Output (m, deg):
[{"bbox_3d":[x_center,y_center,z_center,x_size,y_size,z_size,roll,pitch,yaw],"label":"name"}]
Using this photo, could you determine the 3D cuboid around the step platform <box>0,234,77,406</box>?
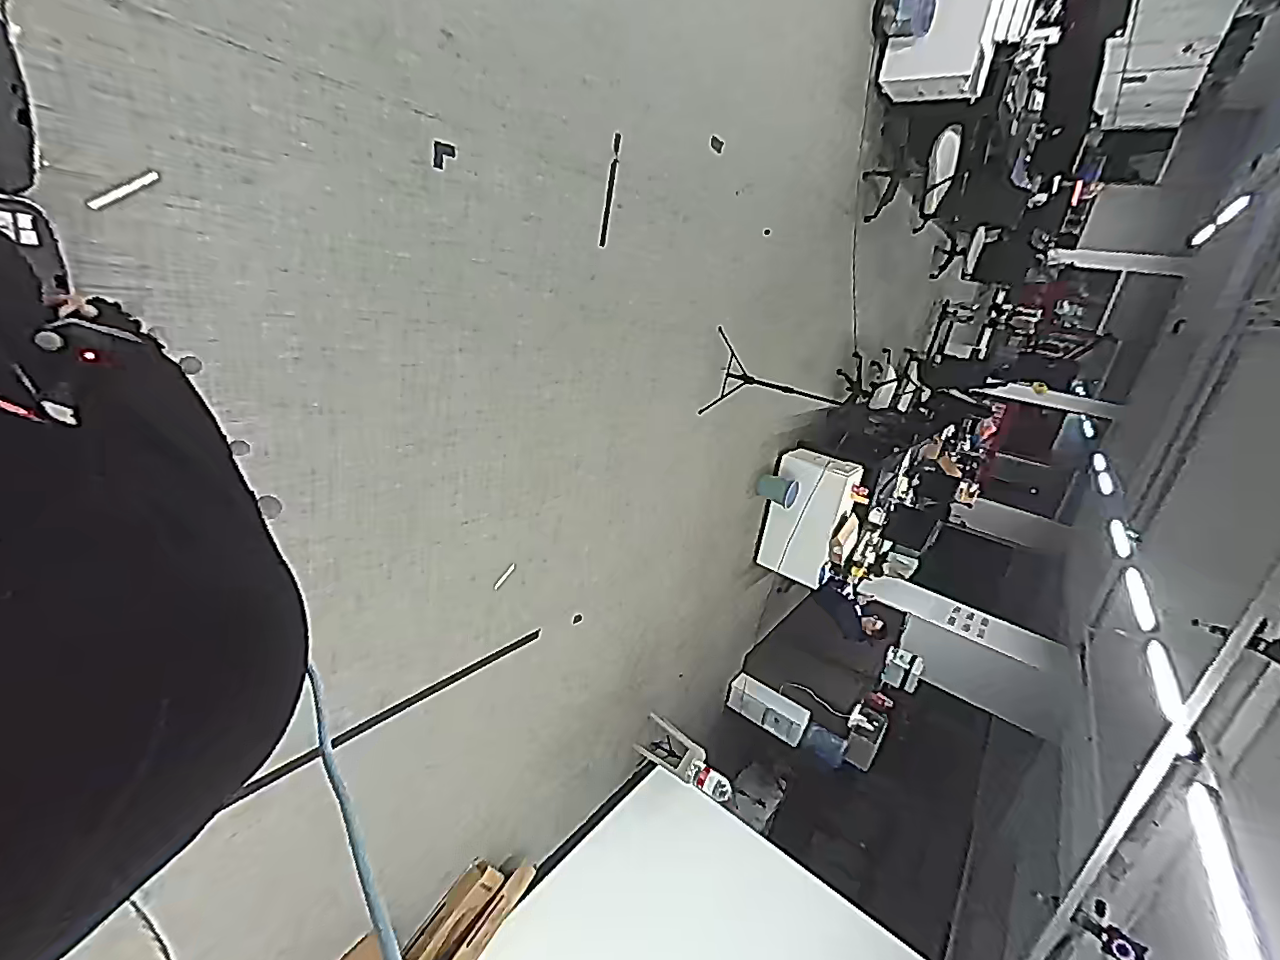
[{"bbox_3d":[-1.276,-0.259,0.753,0.684,0.204,0.286,-8,114,-52],"label":"step platform"}]
